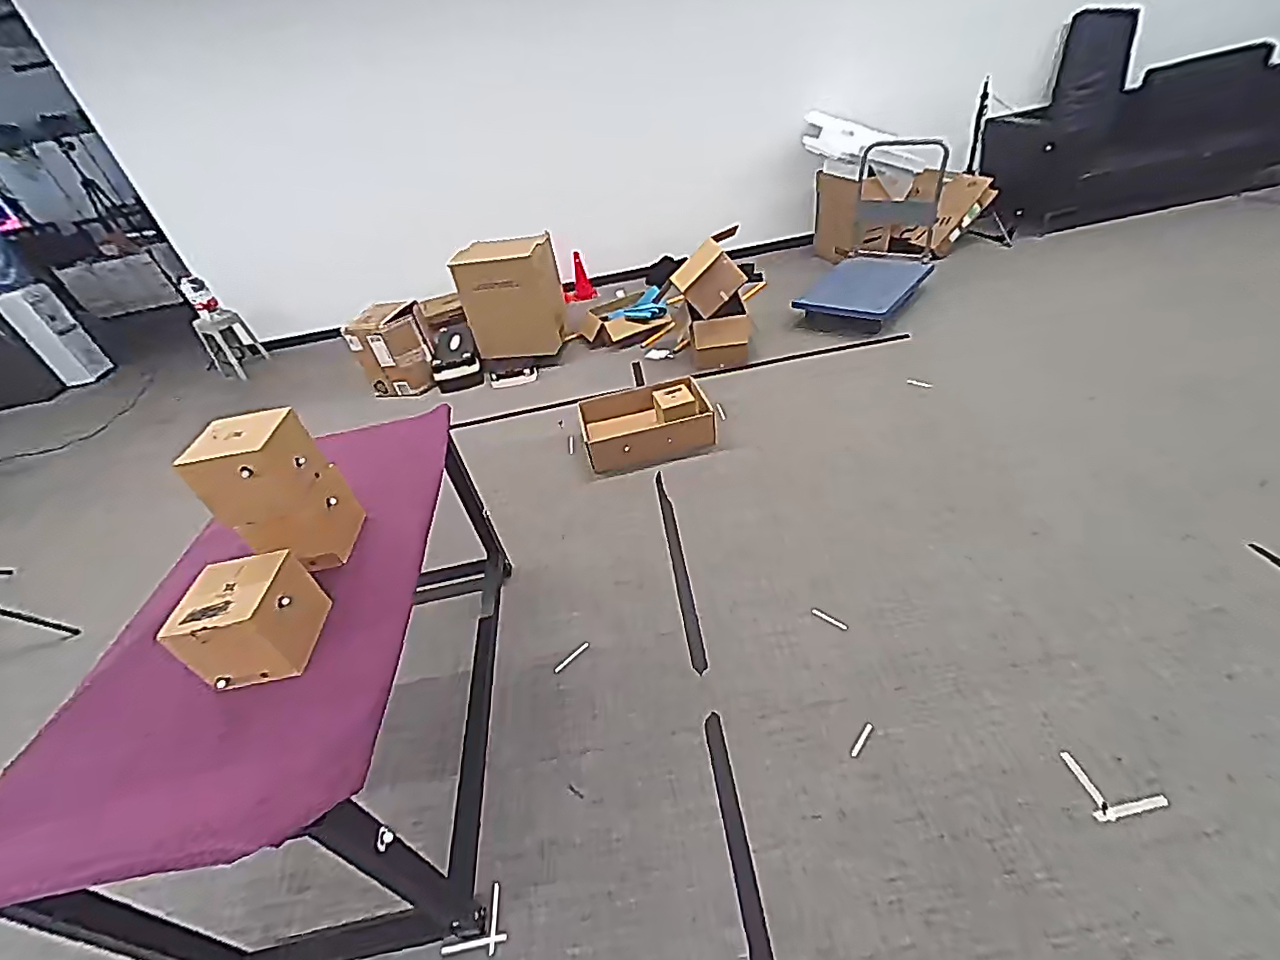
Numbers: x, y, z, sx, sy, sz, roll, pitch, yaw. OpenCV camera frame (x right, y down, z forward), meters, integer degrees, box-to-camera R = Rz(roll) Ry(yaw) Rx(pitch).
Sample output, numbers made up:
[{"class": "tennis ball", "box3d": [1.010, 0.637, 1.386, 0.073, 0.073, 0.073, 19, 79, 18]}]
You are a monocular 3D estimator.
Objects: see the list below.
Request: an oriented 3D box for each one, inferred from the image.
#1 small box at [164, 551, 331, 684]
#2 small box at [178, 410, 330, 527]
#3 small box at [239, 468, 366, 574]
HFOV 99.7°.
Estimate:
[{"class": "small box", "box3d": [-0.729, 0.268, 1.033, 0.168, 0.176, 0.179, -11, 37, 0]}, {"class": "small box", "box3d": [-0.803, -0.023, 1.153, 0.179, 0.176, 0.168, -11, 38, 1]}, {"class": "small box", "box3d": [-0.771, 0.099, 1.259, 0.168, 0.176, 0.179, -11, 38, 1]}]
